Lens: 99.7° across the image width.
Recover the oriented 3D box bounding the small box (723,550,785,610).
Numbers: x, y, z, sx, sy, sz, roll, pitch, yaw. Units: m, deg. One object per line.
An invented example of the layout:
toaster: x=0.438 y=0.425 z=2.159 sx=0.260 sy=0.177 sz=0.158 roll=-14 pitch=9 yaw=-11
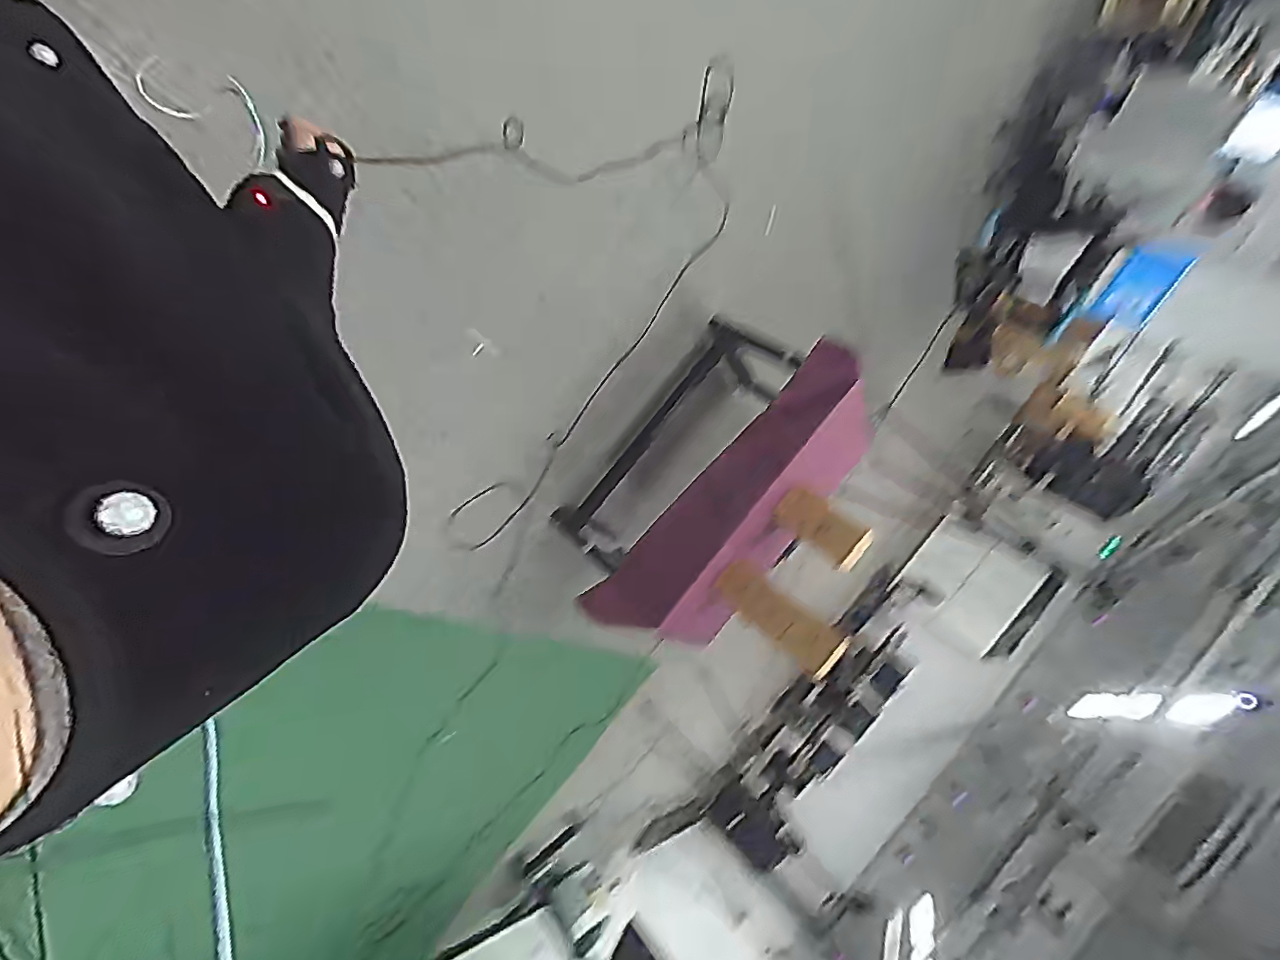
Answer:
small box: x=0.458 y=0.403 z=2.148 sx=0.179 sy=0.176 sz=0.168 roll=-51 pitch=146 yaw=0

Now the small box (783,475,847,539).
small box: x=0.702 y=0.107 z=2.160 sx=0.179 sy=0.176 sz=0.168 roll=-53 pitch=147 yaw=4

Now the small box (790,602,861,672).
small box: x=0.672 y=0.570 z=1.963 sx=0.179 sy=0.176 sz=0.168 roll=-52 pitch=145 yaw=-1

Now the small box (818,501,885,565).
small box: x=0.811 y=0.200 z=2.078 sx=0.168 sy=0.176 sz=0.179 roll=-53 pitch=147 yaw=3

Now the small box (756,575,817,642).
small box: x=0.562 y=0.491 z=2.055 sx=0.179 sy=0.176 sz=0.168 roll=-52 pitch=146 yaw=-1
